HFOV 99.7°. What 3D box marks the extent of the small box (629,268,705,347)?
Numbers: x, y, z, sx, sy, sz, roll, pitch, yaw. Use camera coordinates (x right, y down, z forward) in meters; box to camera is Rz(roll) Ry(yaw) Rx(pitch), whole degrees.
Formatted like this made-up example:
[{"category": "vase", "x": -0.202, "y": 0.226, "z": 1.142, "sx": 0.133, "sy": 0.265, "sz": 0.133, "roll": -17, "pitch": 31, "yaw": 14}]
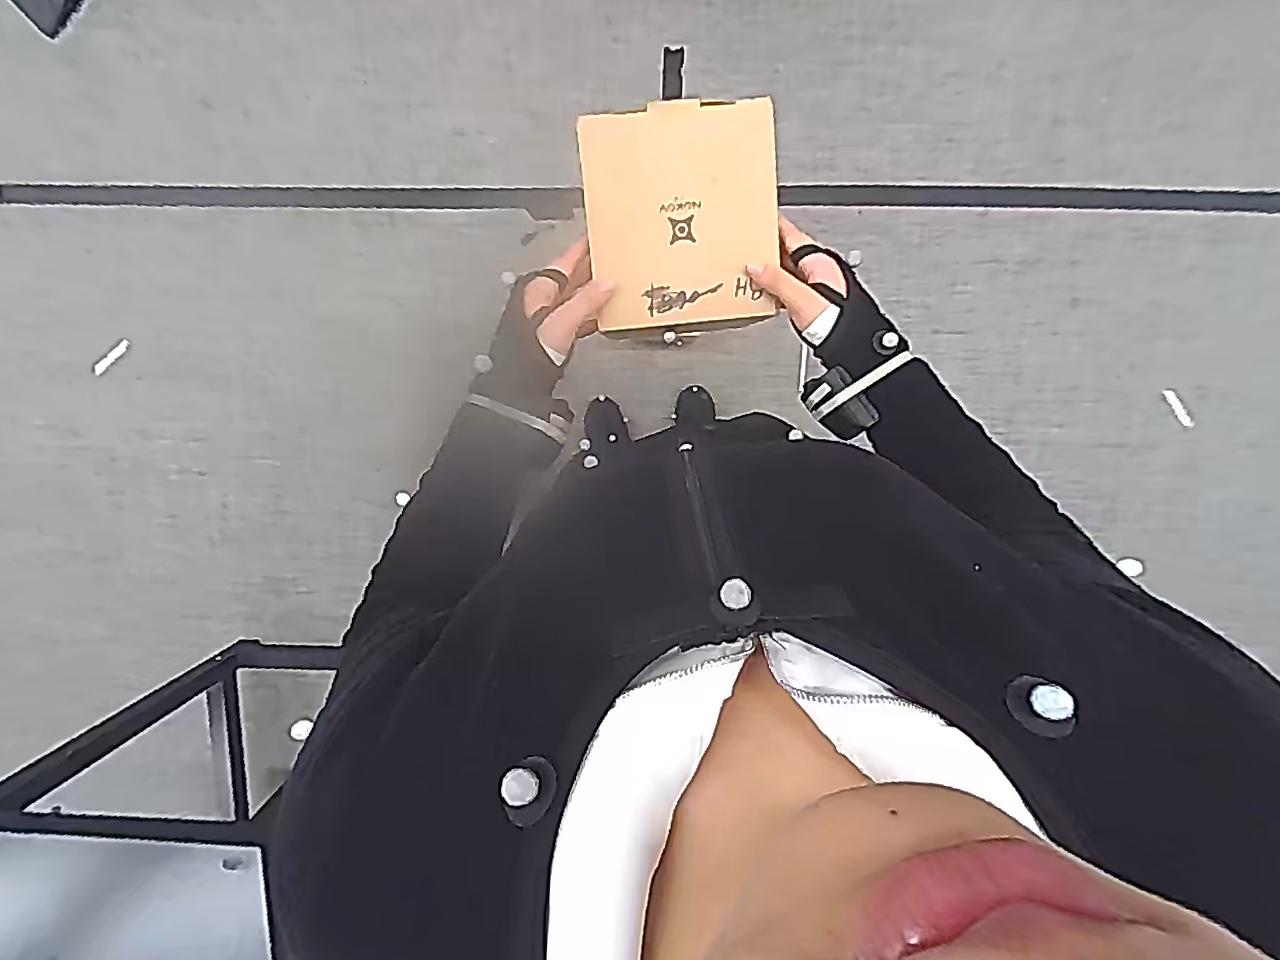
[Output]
[{"category": "small box", "x": 0.065, "y": -0.427, "z": 1.356, "sx": 0.179, "sy": 0.176, "sz": 0.168, "roll": 1, "pitch": 98, "yaw": 2}]
